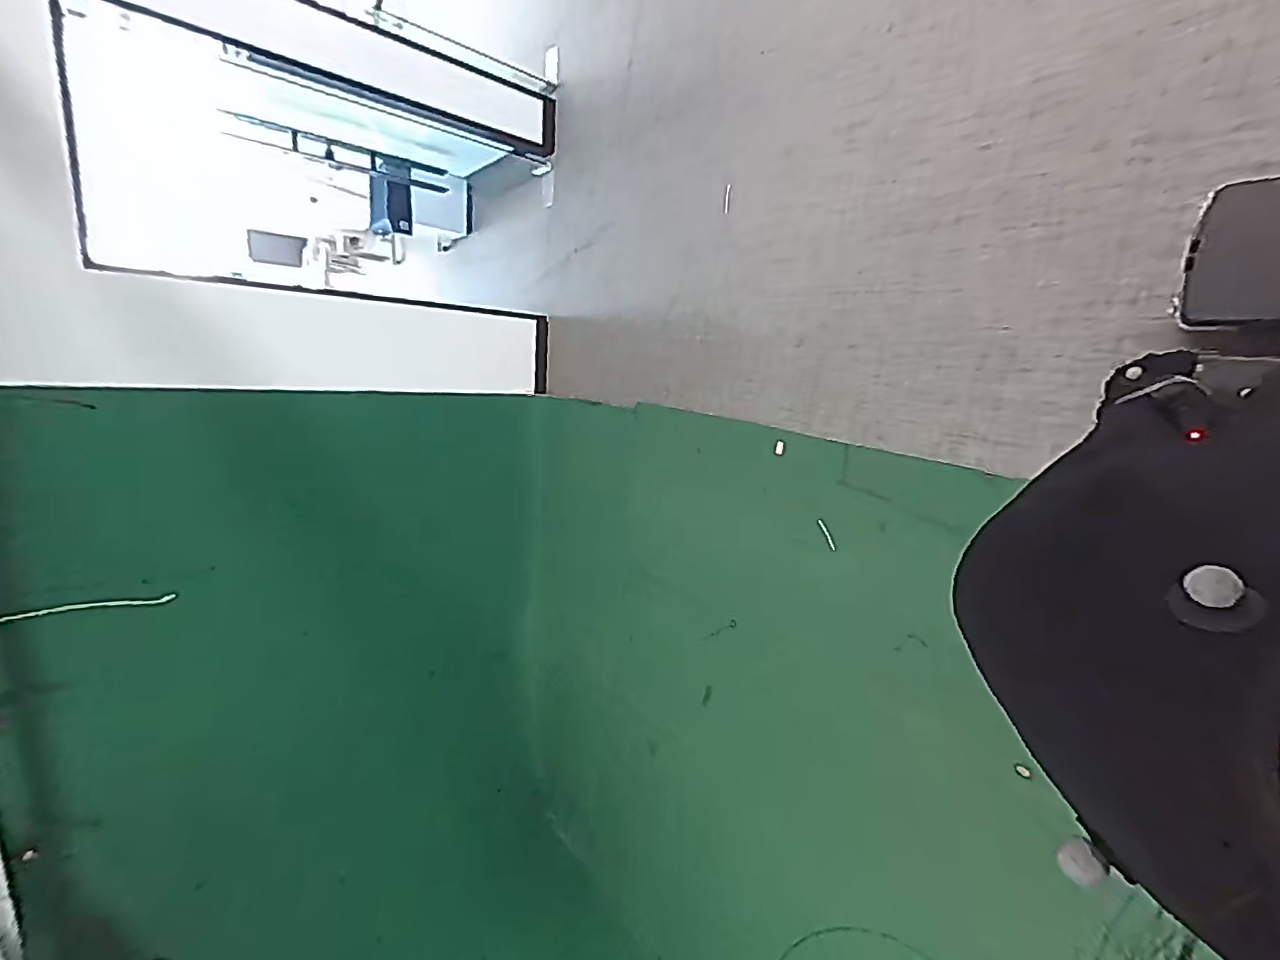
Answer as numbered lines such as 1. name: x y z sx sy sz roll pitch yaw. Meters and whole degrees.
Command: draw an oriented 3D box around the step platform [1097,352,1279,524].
1. step platform: 1.167 -0.036 0.830 0.684 0.204 0.286 18 108 48
